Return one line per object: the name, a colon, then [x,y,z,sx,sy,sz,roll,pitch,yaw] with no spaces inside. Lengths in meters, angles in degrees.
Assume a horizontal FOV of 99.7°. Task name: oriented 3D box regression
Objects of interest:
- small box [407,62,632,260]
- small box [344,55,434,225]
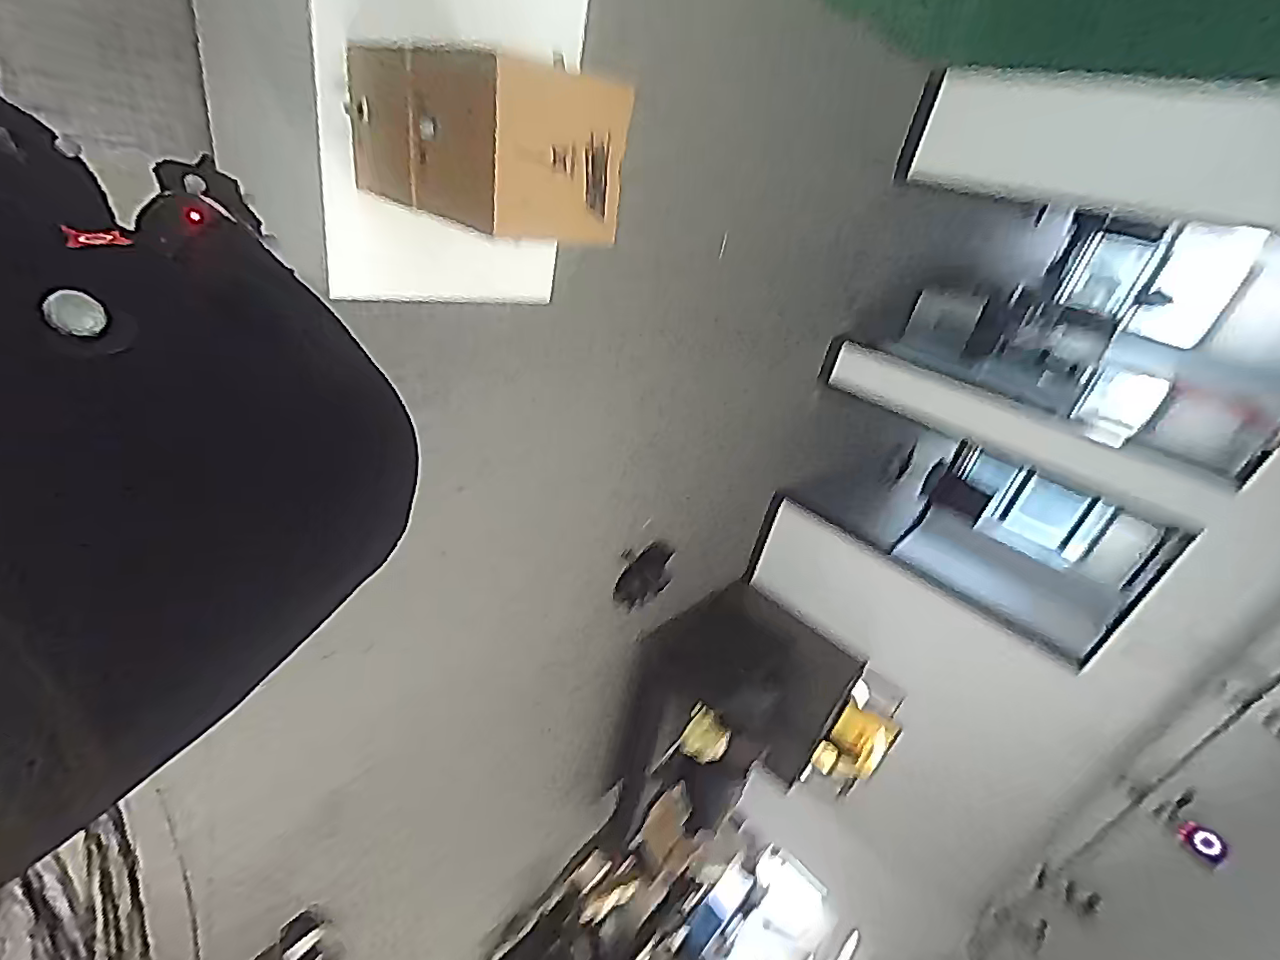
small box: [-0.136,-0.359,0.616,0.179,0.176,0.168,-25,135,-41]
small box: [-0.256,-0.432,0.703,0.179,0.176,0.168,-19,131,-41]
